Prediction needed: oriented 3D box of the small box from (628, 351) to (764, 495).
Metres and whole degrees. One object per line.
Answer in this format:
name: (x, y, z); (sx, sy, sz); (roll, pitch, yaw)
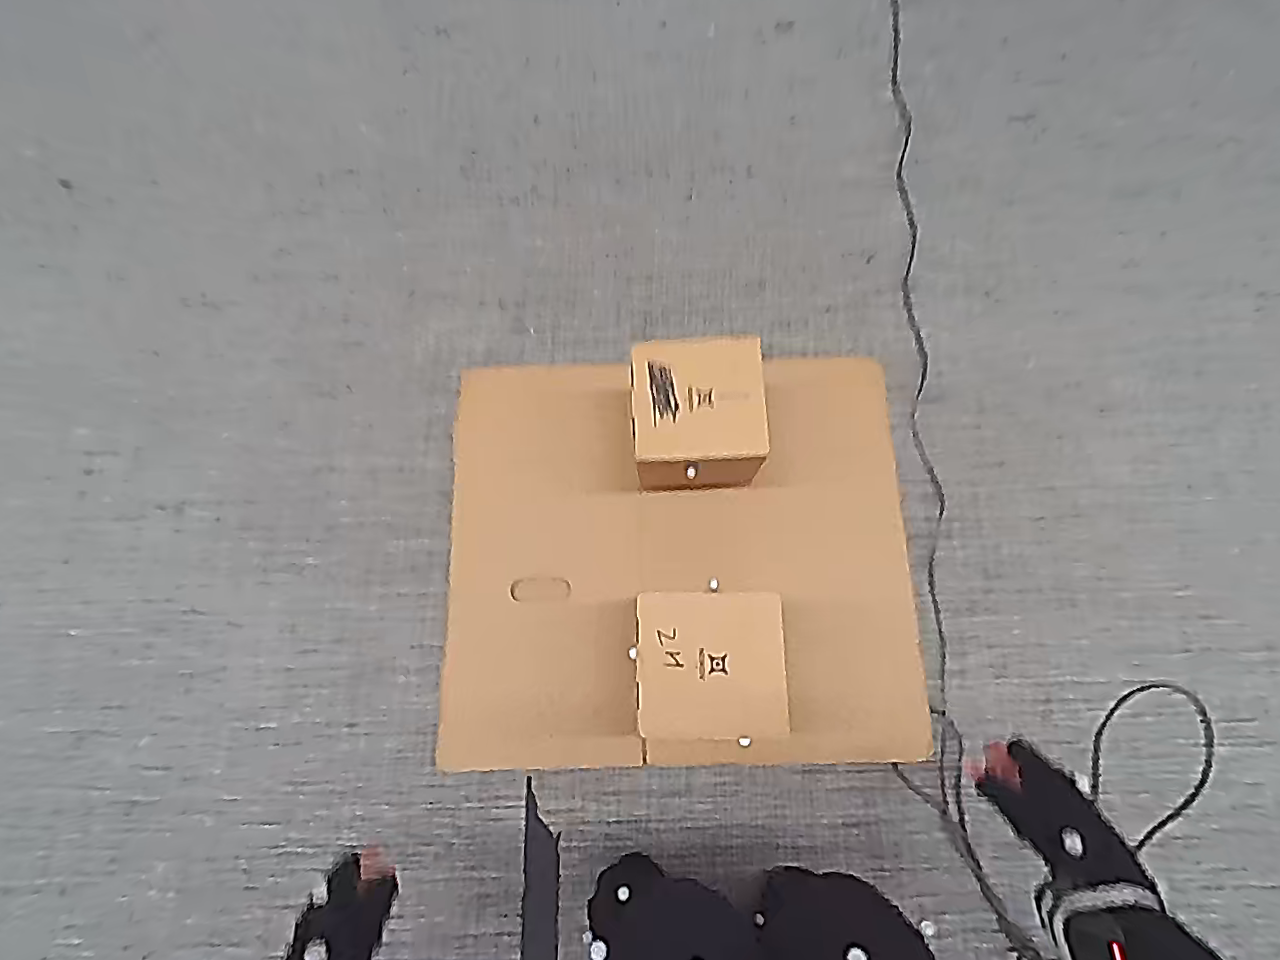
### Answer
small box: (0.077, -0.075, 0.801); (0.179, 0.176, 0.168); (-3, 77, 2)

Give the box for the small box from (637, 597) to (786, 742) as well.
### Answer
small box: (0.088, 0.243, 0.725); (0.179, 0.176, 0.168); (-1, 77, 3)
